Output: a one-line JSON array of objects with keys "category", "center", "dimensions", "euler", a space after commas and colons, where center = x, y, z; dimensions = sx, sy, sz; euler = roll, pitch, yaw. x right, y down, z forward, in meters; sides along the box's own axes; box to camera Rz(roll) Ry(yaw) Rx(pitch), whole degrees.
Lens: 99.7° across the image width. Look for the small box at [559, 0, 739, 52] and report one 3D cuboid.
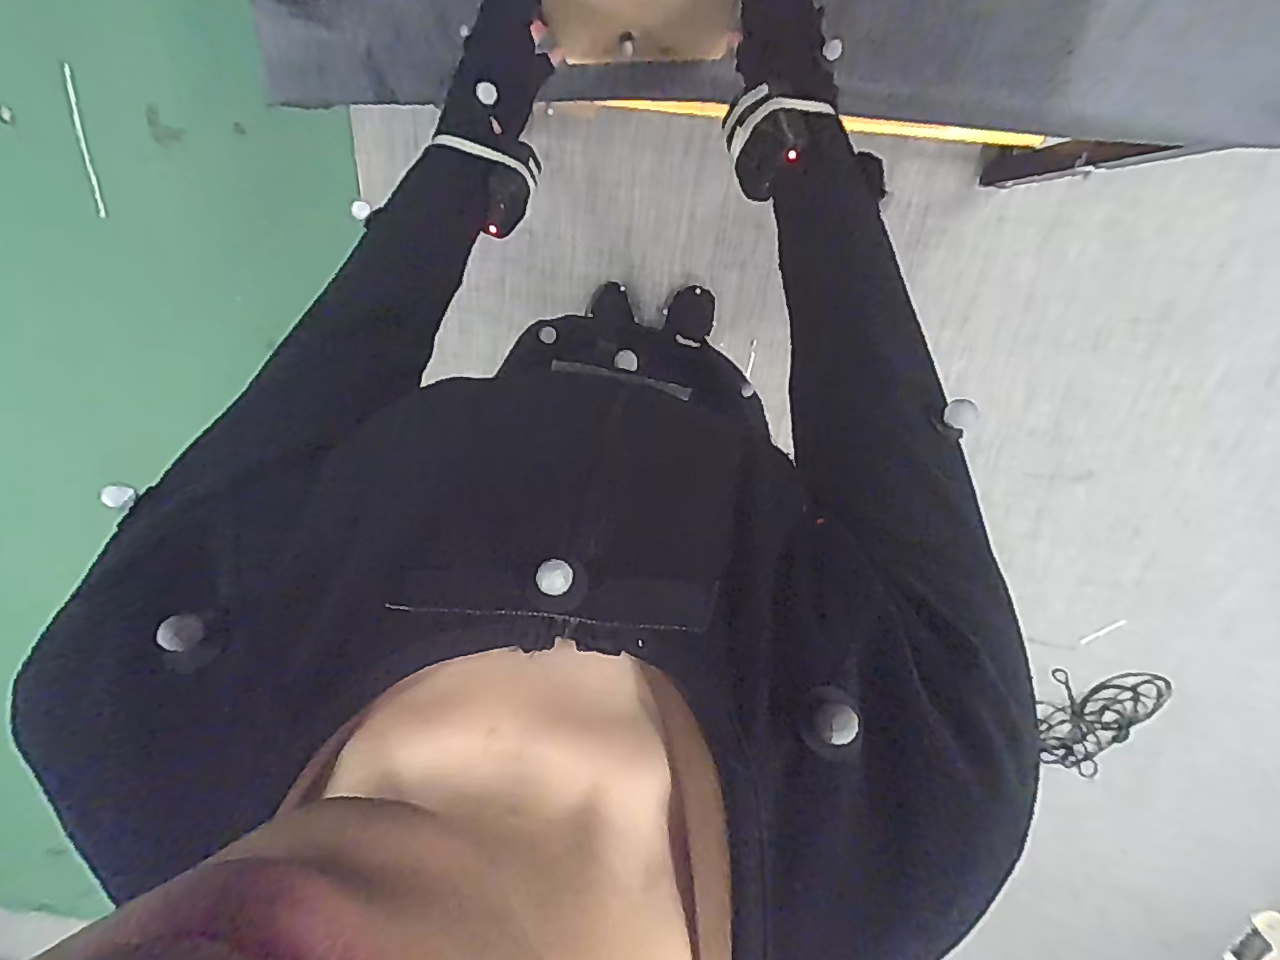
[{"category": "small box", "center": [0.005, -0.503, 0.462], "dimensions": [0.168, 0.176, 0.179], "euler": [1, 113, 4]}]
